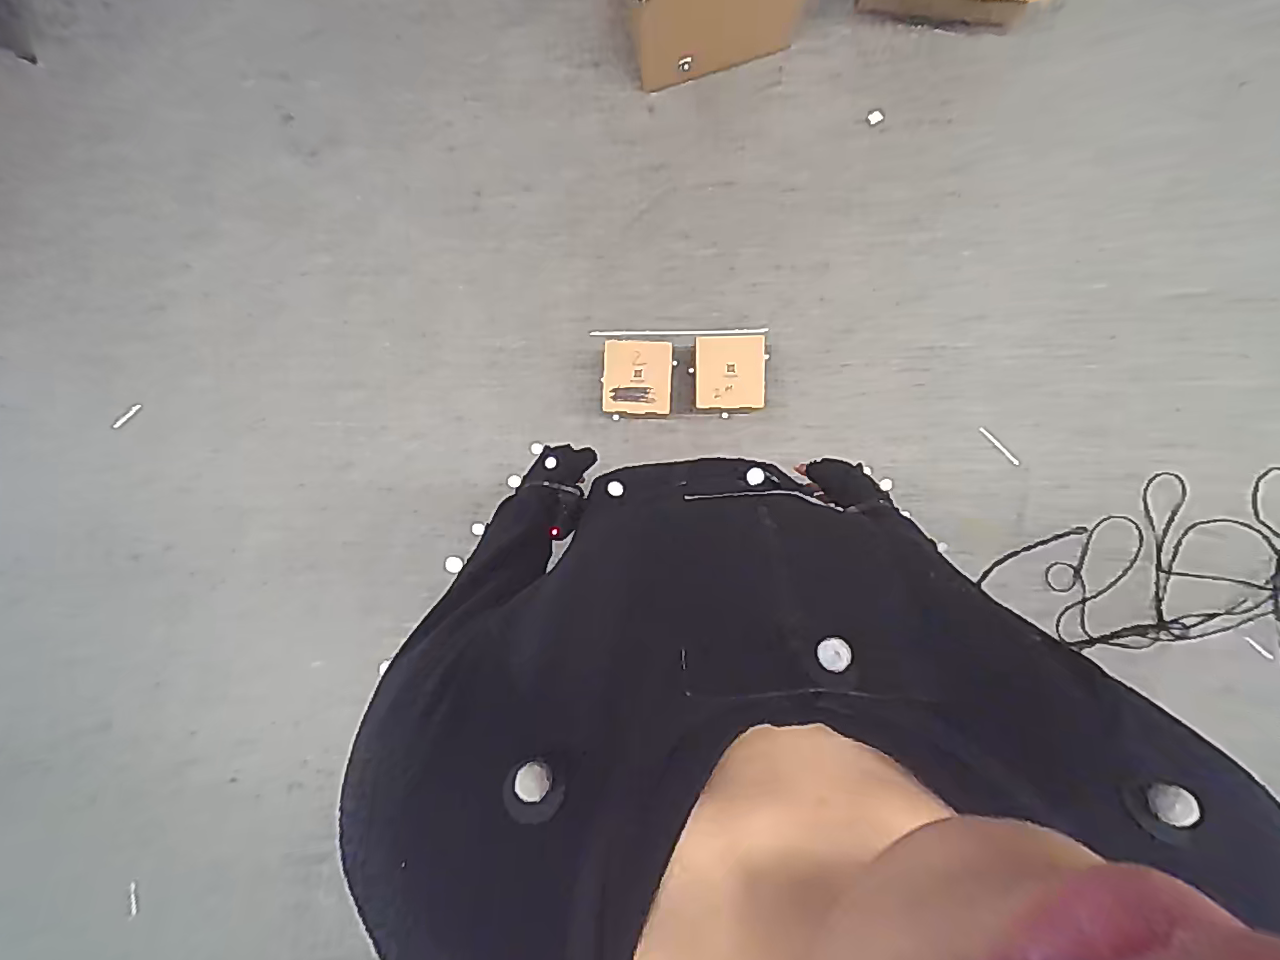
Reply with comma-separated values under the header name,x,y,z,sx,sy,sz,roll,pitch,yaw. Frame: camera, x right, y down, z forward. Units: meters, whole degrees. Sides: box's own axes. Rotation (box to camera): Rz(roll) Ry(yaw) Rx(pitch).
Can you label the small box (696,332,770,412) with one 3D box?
name,x,y,z,sx,sy,sz,roll,pitch,yaw
small box,0.229,-0.269,1.368,0.168,0.176,0.179,0,93,3
